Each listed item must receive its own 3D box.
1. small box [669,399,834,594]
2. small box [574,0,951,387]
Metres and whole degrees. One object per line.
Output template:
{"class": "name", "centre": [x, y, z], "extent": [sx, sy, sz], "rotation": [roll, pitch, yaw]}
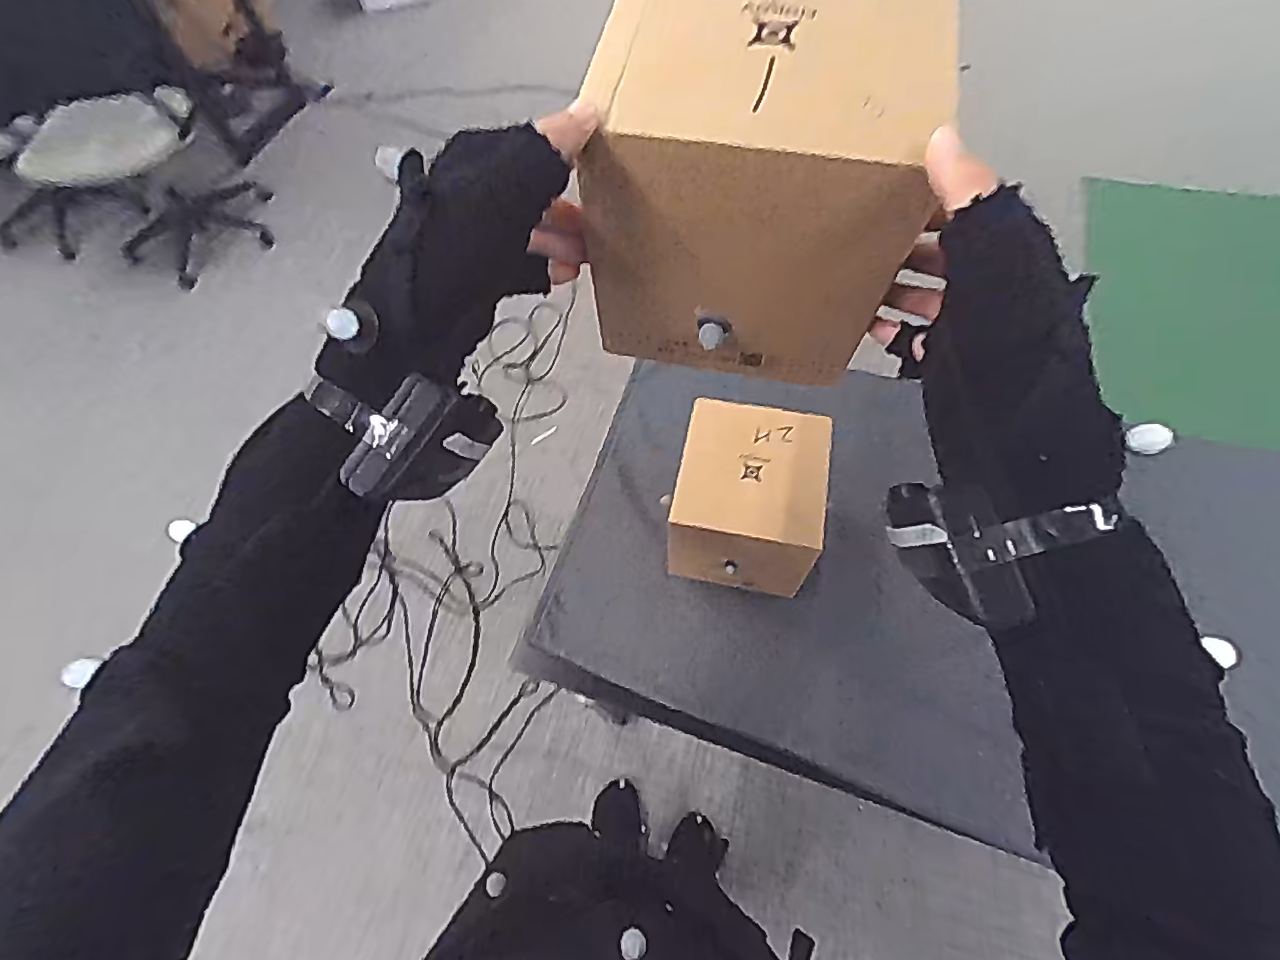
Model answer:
{"class": "small box", "centre": [0.137, 0.027, 0.683], "extent": [0.168, 0.176, 0.179], "rotation": [11, 61, 9]}
{"class": "small box", "centre": [0.068, -0.185, 0.337], "extent": [0.168, 0.176, 0.179], "rotation": [10, 68, 7]}
